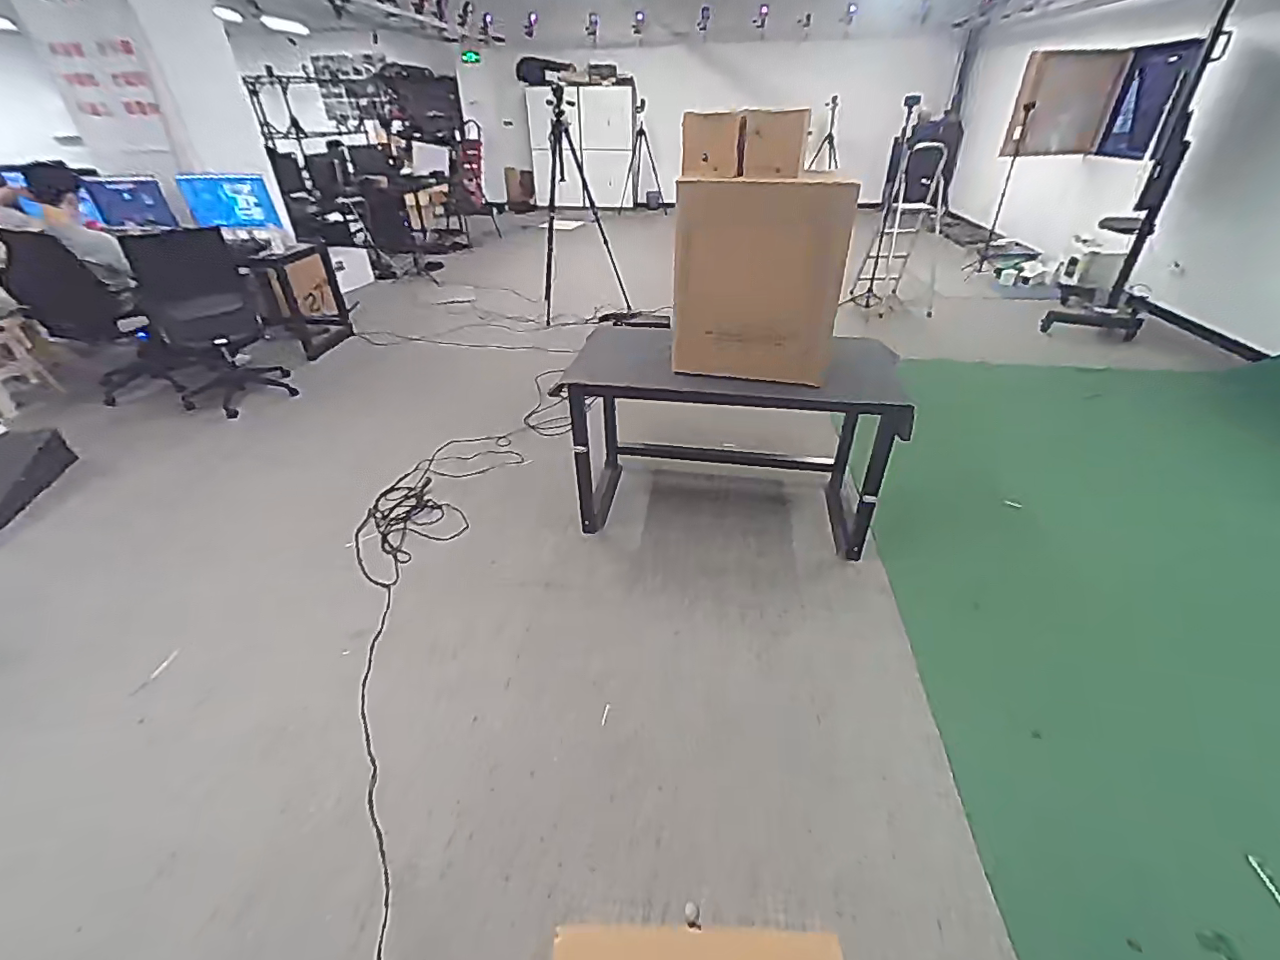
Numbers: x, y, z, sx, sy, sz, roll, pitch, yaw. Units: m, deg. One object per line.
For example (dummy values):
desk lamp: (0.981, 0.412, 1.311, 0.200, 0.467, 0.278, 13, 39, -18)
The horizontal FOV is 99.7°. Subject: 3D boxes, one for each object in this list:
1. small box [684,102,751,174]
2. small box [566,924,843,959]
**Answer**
small box: (0.232, -1.036, 1.633, 0.168, 0.176, 0.179, 11, 39, 15)
small box: (0.028, 0.383, 0.324, 0.168, 0.176, 0.179, 4, 51, -2)
